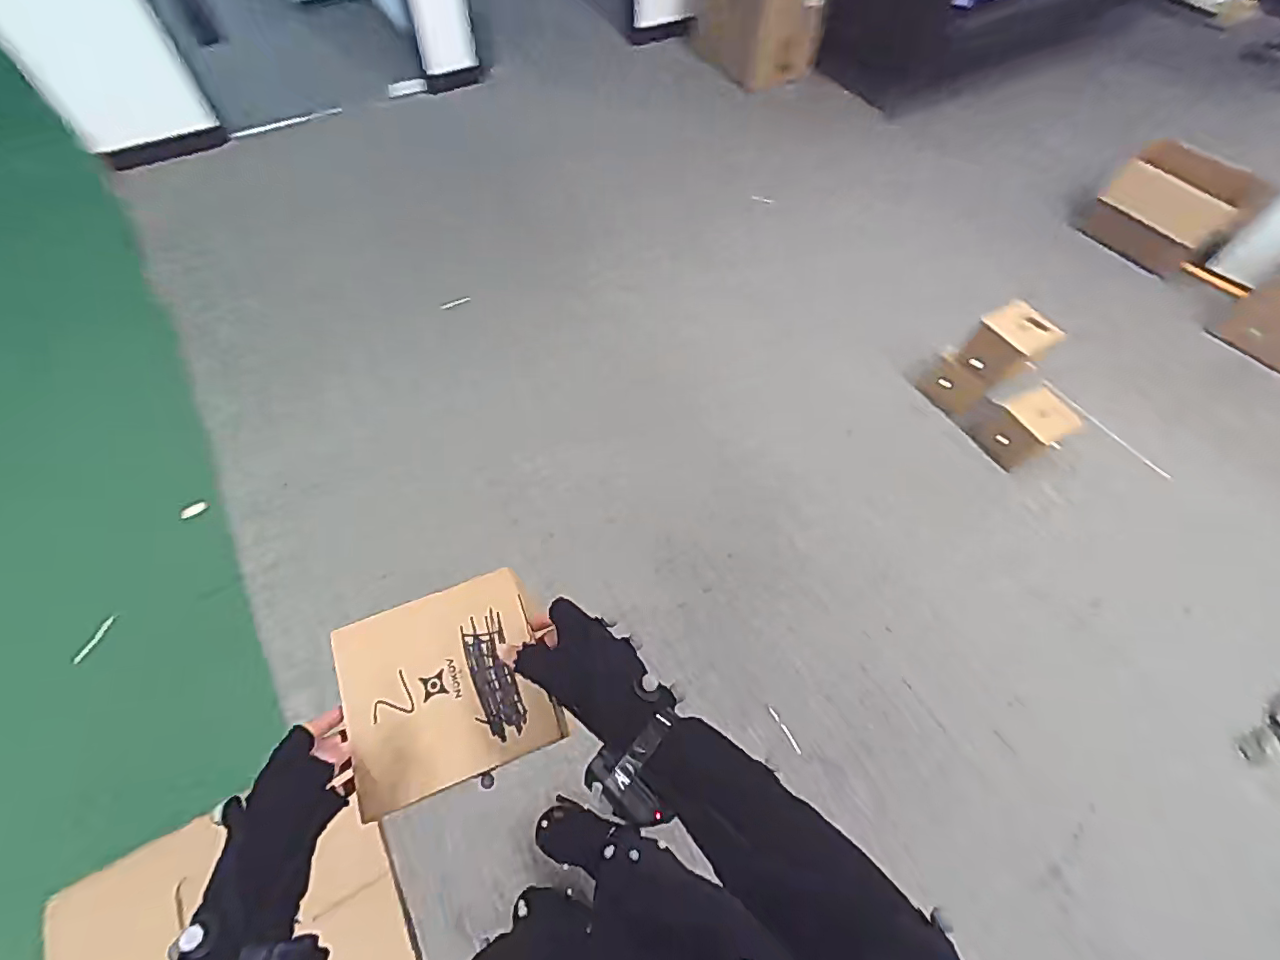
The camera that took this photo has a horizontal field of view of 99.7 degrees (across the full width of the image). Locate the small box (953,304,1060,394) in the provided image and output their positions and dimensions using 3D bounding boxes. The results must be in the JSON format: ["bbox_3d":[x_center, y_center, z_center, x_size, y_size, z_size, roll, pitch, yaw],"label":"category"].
[{"bbox_3d":[1.109,-0.397,1.652,0.179,0.176,0.168,-27,64,-16],"label":"small box"}]

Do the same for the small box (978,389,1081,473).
[{"bbox_3d":[1.206,-0.149,1.697,0.179,0.176,0.168,-22,63,-15],"label":"small box"}]

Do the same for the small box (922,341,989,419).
[{"bbox_3d":[1.080,-0.334,1.805,0.179,0.176,0.168,-33,66,-20],"label":"small box"}]
